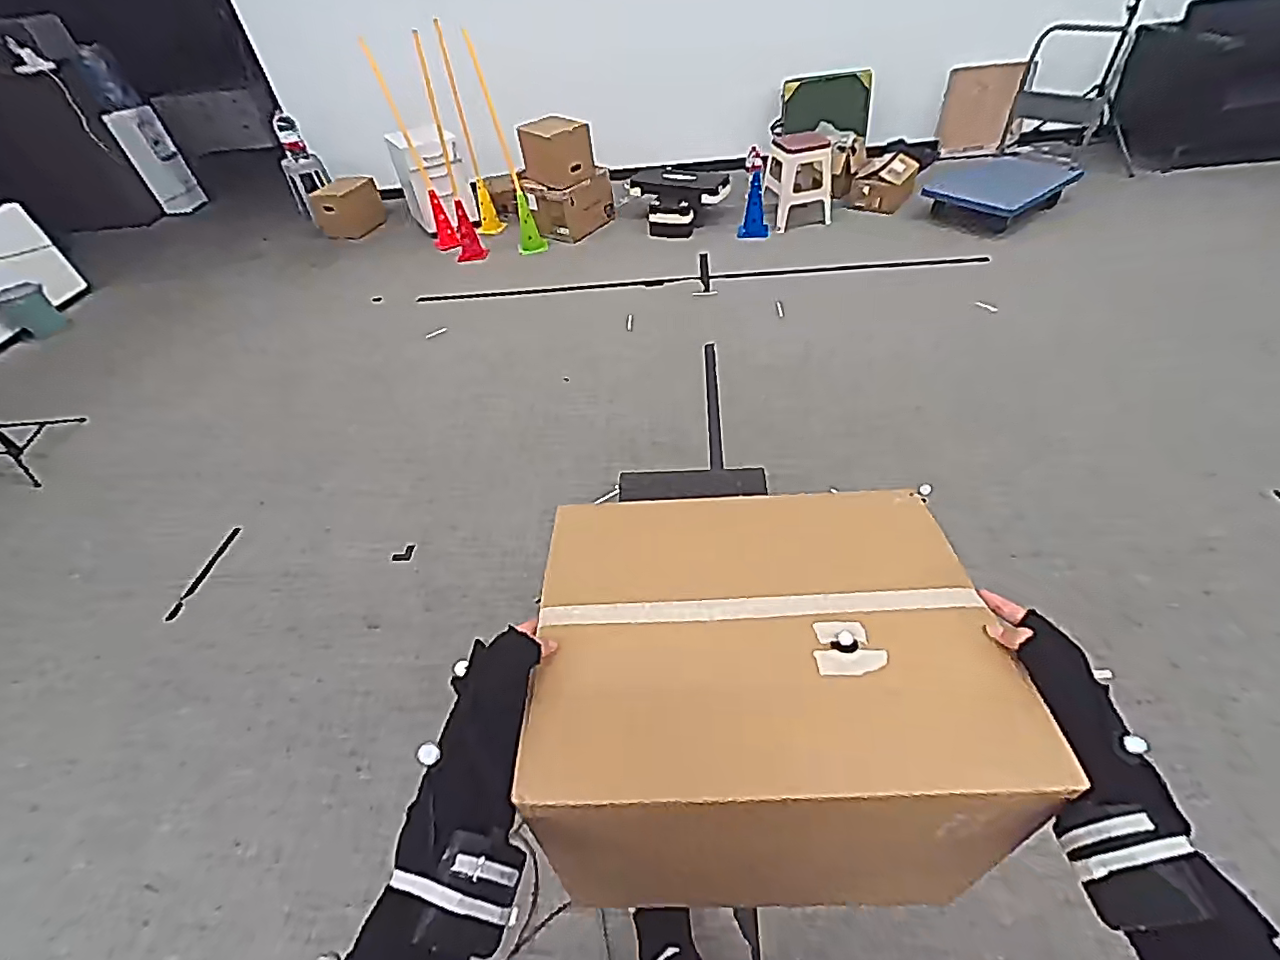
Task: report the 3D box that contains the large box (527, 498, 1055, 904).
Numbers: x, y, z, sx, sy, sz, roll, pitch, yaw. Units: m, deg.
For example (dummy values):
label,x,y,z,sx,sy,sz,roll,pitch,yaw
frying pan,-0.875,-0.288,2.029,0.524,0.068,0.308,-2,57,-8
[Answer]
label,x,y,z,sx,sy,sz,roll,pitch,yaw
large box,0.116,0.243,0.610,0.408,0.320,0.320,-3,40,2
